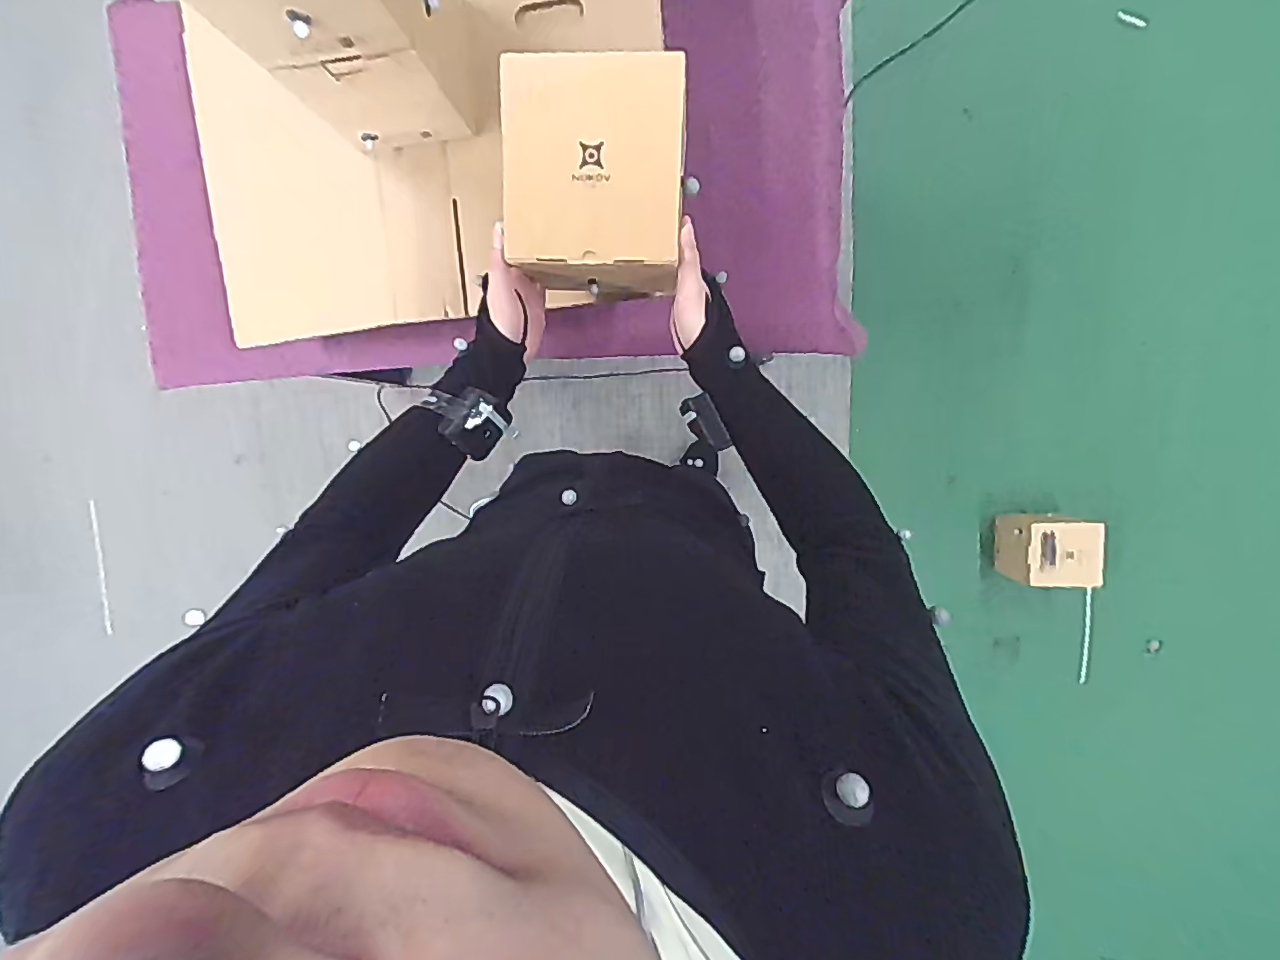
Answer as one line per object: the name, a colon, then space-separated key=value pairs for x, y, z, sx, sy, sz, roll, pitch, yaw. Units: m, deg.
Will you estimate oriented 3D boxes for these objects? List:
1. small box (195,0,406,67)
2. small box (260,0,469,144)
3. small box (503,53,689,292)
small box: x=-0.324 y=-0.506 z=0.461 sx=0.168 sy=0.176 sz=0.179 roll=-5 pitch=96 yaw=5
small box: x=-0.311 y=-0.519 z=0.624 sx=0.168 sy=0.176 sz=0.179 roll=-5 pitch=94 yaw=4
small box: x=-0.038 y=-0.300 z=0.563 sx=0.168 sy=0.176 sz=0.179 roll=2 pitch=103 yaw=4
